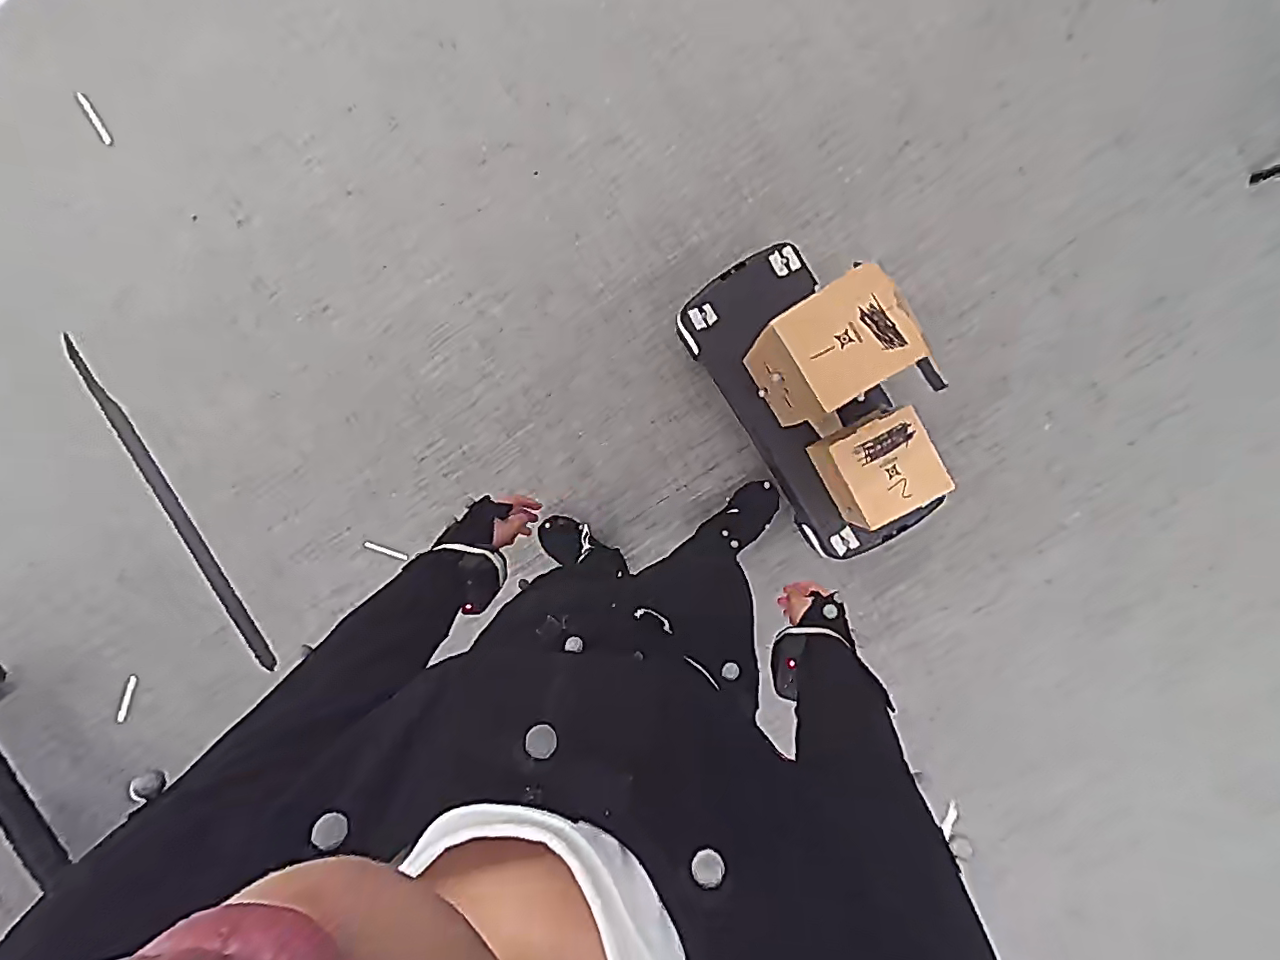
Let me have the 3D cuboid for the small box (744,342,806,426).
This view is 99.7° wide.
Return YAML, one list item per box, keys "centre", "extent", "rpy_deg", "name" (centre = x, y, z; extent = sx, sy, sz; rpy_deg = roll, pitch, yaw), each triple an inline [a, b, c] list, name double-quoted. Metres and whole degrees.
- centre: [0.323, -0.219, 1.051]
  extent: [0.179, 0.176, 0.168]
  rpy_deg: [-30, 90, 5]
  name: "small box"

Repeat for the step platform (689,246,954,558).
- centre: [0.393, -0.165, 1.223]
  extent: [0.286, 0.204, 0.684]
  rpy_deg: [-32, 89, 4]
  name: "step platform"

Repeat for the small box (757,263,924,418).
- centre: [0.314, -0.216, 0.887]
  extent: [0.179, 0.176, 0.168]
  rpy_deg: [-31, 90, 5]
  name: "small box"
